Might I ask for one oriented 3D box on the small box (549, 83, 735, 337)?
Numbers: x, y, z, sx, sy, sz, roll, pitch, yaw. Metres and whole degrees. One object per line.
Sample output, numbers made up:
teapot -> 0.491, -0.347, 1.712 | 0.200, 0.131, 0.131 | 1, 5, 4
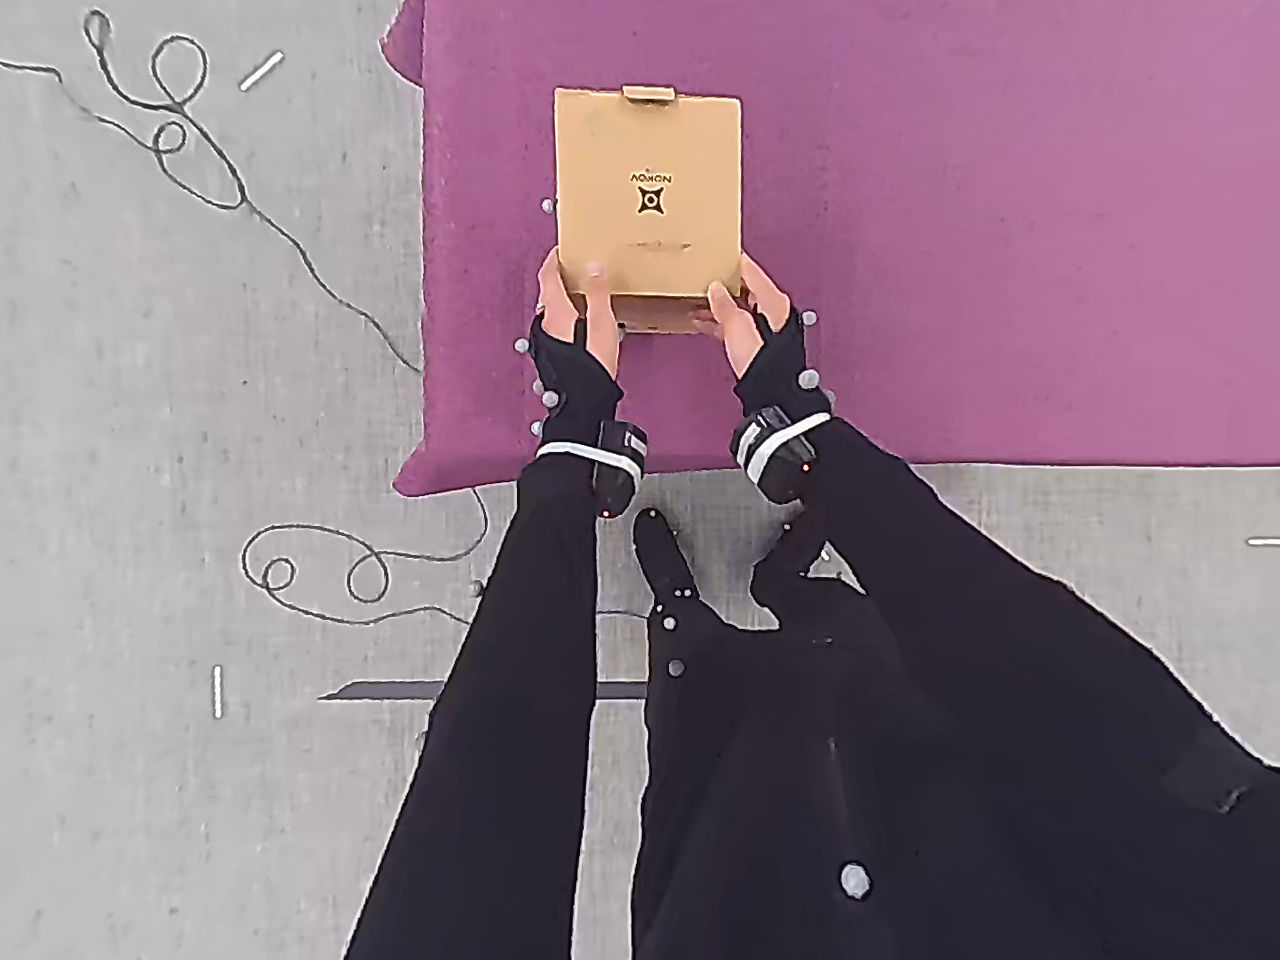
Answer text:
small box -> -0.007, -0.253, 0.548 | 0.168, 0.176, 0.179 | -1, 94, -7
